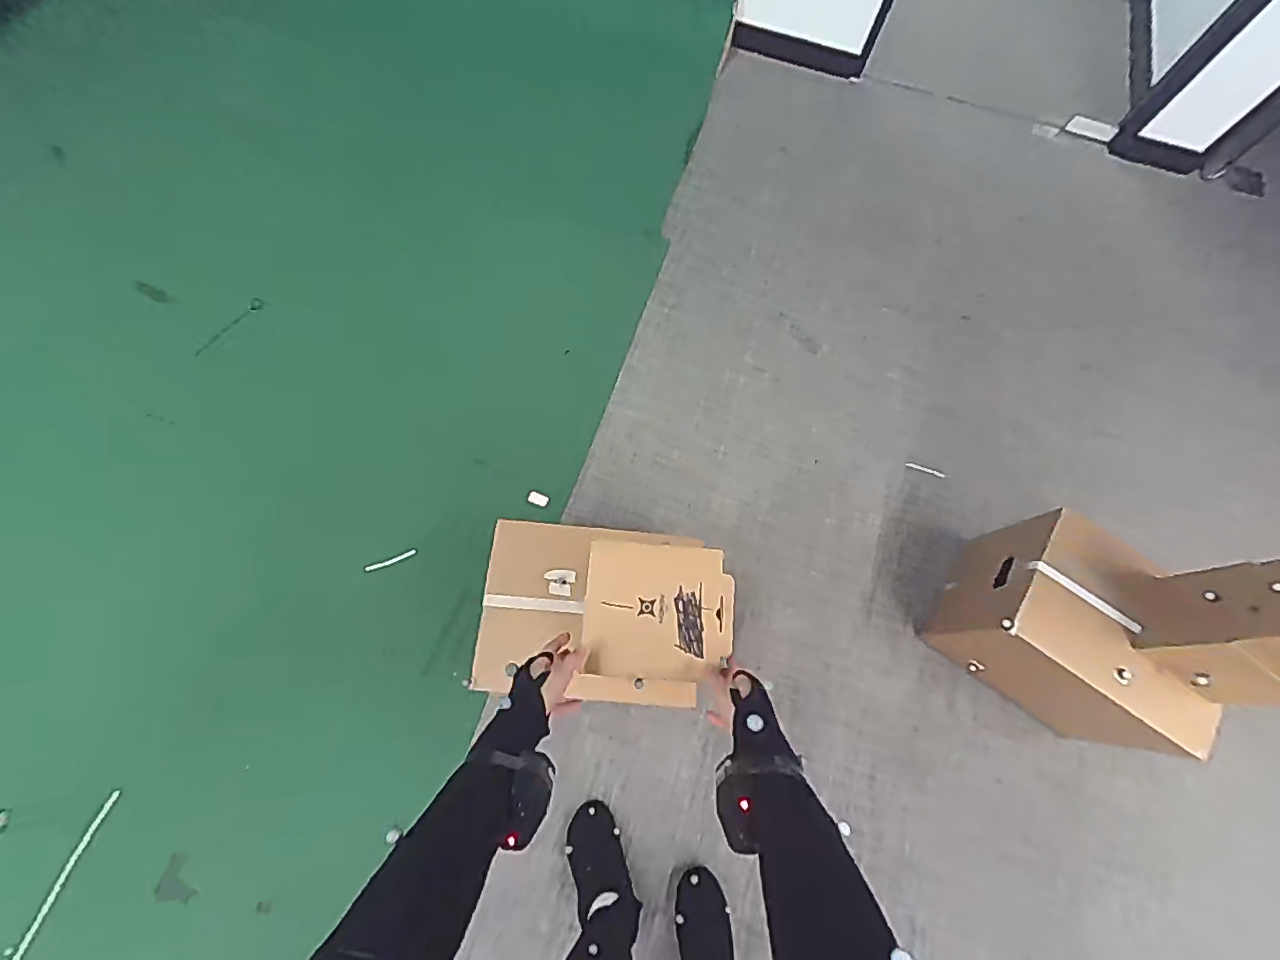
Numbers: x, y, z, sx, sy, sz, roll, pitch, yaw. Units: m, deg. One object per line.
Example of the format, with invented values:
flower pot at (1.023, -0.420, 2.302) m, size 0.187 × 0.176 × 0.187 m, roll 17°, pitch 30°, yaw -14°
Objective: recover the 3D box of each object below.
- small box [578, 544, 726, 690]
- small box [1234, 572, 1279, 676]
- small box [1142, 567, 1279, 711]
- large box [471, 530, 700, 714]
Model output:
small box at (0.014, 0.192, 0.748) m, size 0.179 × 0.176 × 0.168 m, roll 5°, pitch 71°, yaw -1°
small box at (1.081, 0.234, 0.811) m, size 0.179 × 0.176 × 0.168 m, roll 38°, pitch 71°, yaw 10°
small box at (1.061, 0.286, 0.963) m, size 0.168 × 0.176 × 0.179 m, roll 36°, pitch 71°, yaw 9°
large box at (-0.094, 0.302, 1.137) m, size 0.408 × 0.320 × 0.320 m, roll 5°, pitch 69°, yaw -1°
